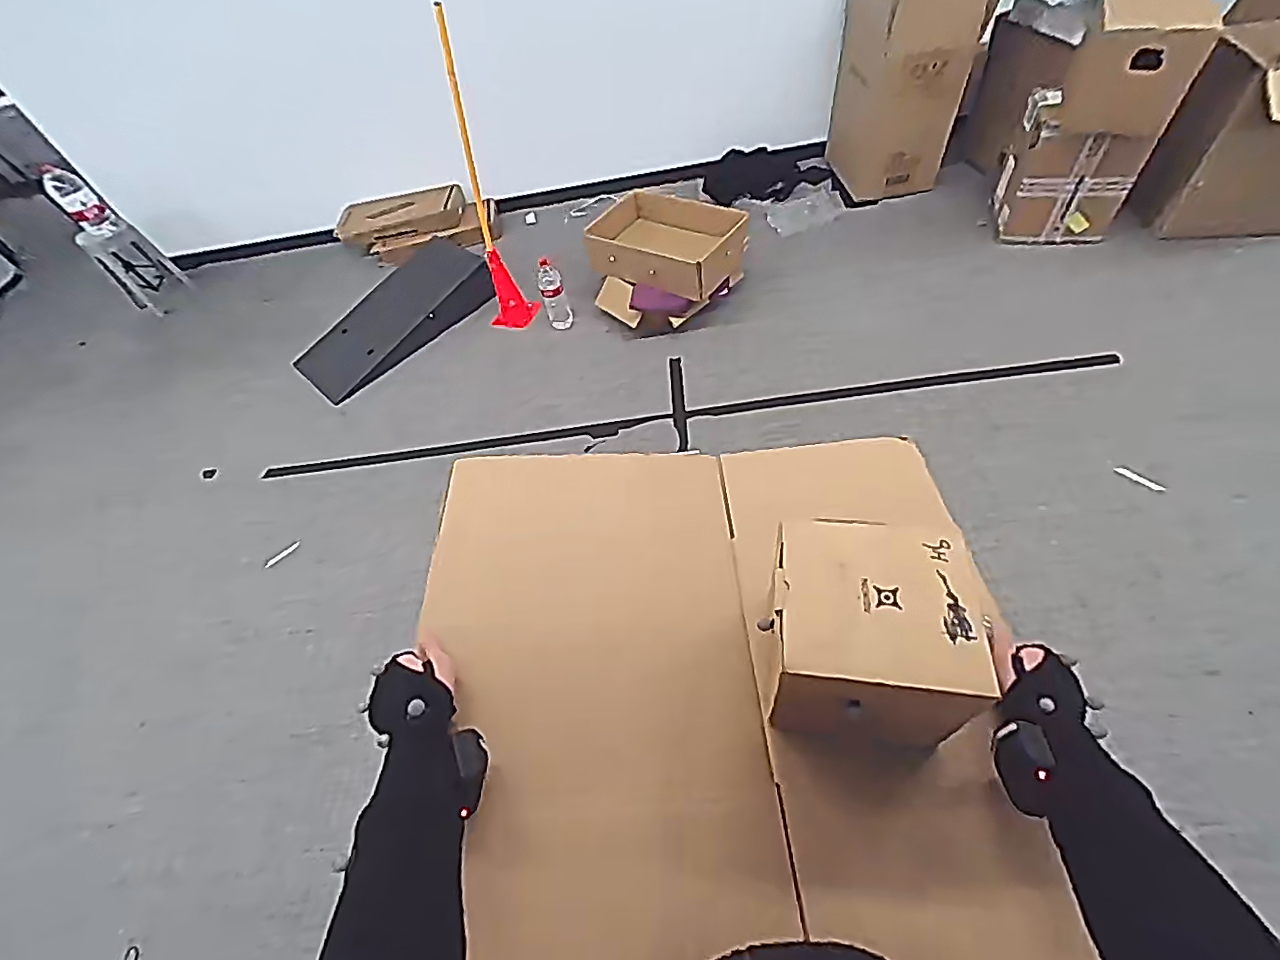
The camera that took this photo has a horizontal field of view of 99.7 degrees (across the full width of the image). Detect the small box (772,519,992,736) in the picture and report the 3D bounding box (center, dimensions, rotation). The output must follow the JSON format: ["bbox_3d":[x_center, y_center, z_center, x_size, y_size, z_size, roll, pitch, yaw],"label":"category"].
[{"bbox_3d":[0.232,0.158,0.573,0.179,0.176,0.168,2,53,12],"label":"small box"}]
